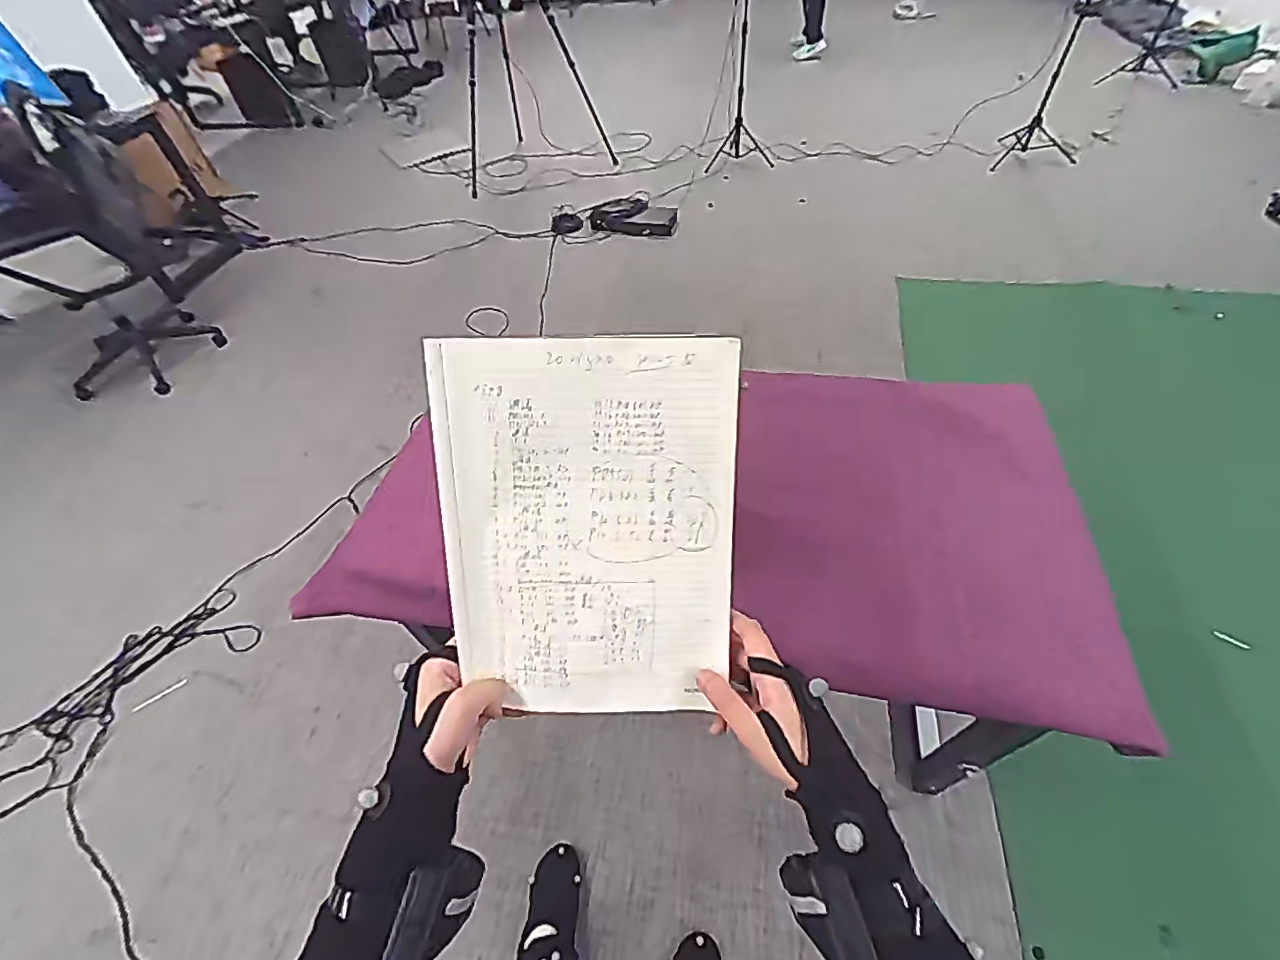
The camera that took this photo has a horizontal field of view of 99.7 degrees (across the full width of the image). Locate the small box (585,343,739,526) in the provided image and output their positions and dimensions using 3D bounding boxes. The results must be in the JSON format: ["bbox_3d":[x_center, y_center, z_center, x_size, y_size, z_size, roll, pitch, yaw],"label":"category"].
[{"bbox_3d":[0.038,-0.059,0.723,0.168,0.176,0.179,7,49,11],"label":"small box"}]
